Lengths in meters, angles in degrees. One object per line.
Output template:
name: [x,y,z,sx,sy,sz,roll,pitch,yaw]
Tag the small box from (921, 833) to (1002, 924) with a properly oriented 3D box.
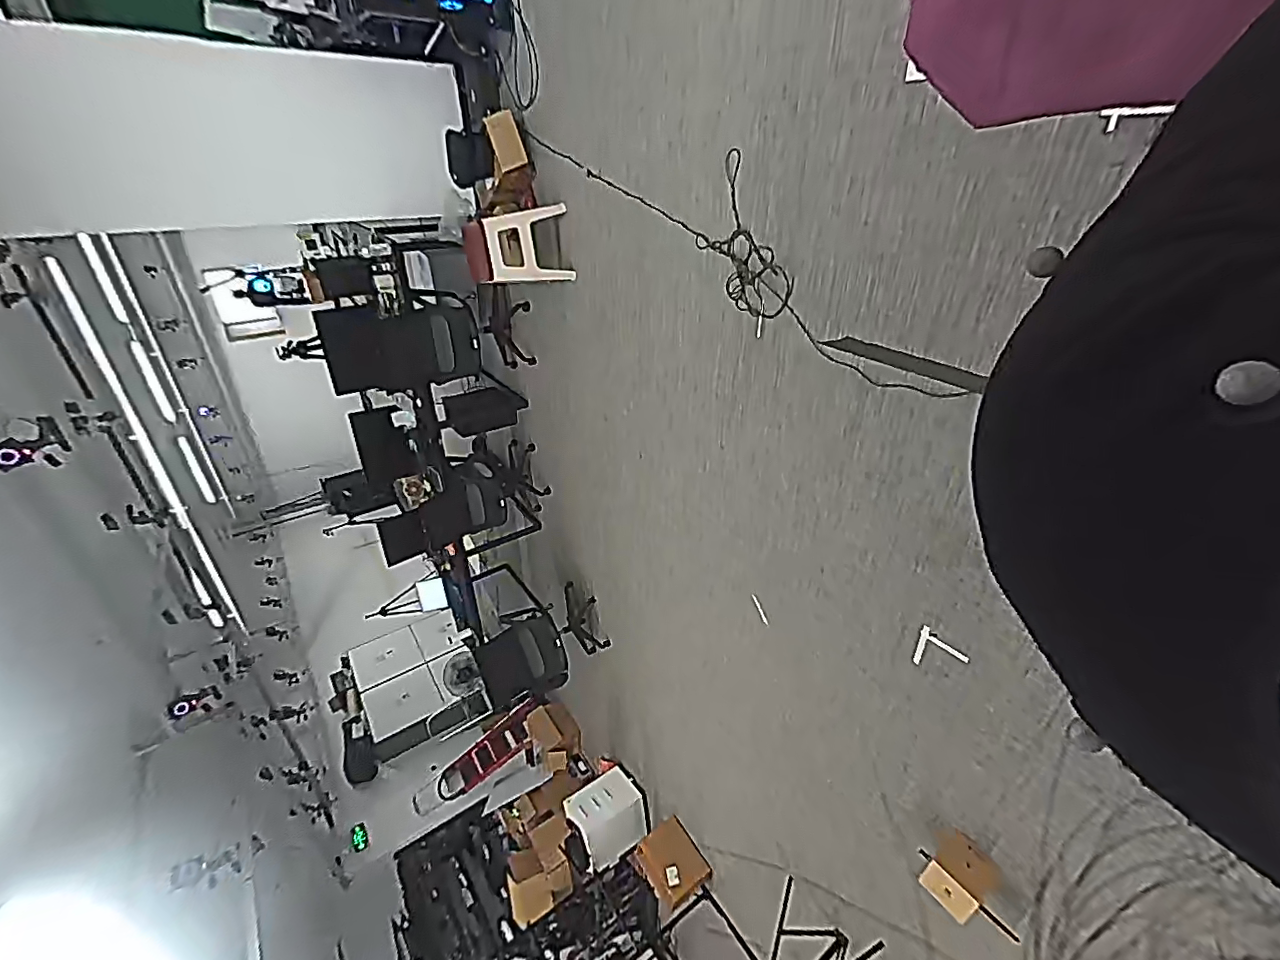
small box: [1.136,1.397,1.907,0.168,0.176,0.179,39,139,43]
